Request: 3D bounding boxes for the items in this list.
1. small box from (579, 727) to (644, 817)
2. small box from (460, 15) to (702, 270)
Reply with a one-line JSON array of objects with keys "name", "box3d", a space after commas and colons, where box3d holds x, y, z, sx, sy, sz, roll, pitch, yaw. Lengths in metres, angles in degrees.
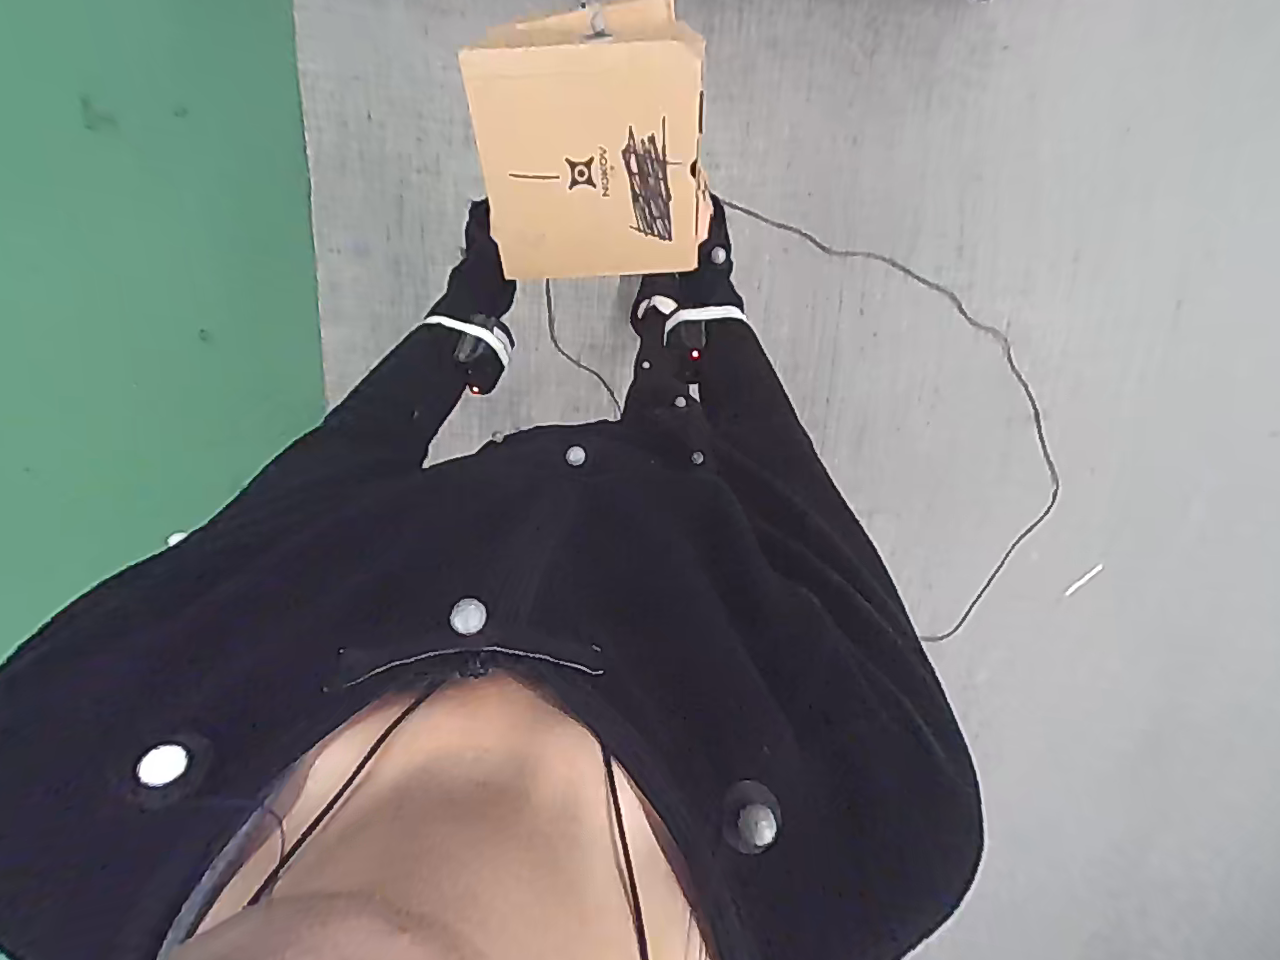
[{"name": "small box", "box3d": [-0.080, 0.838, 1.565, 0.179, 0.176, 0.168, -2, 102, 0]}, {"name": "small box", "box3d": [-0.044, -0.309, 0.494, 0.179, 0.176, 0.168, -2, 134, 0]}]
